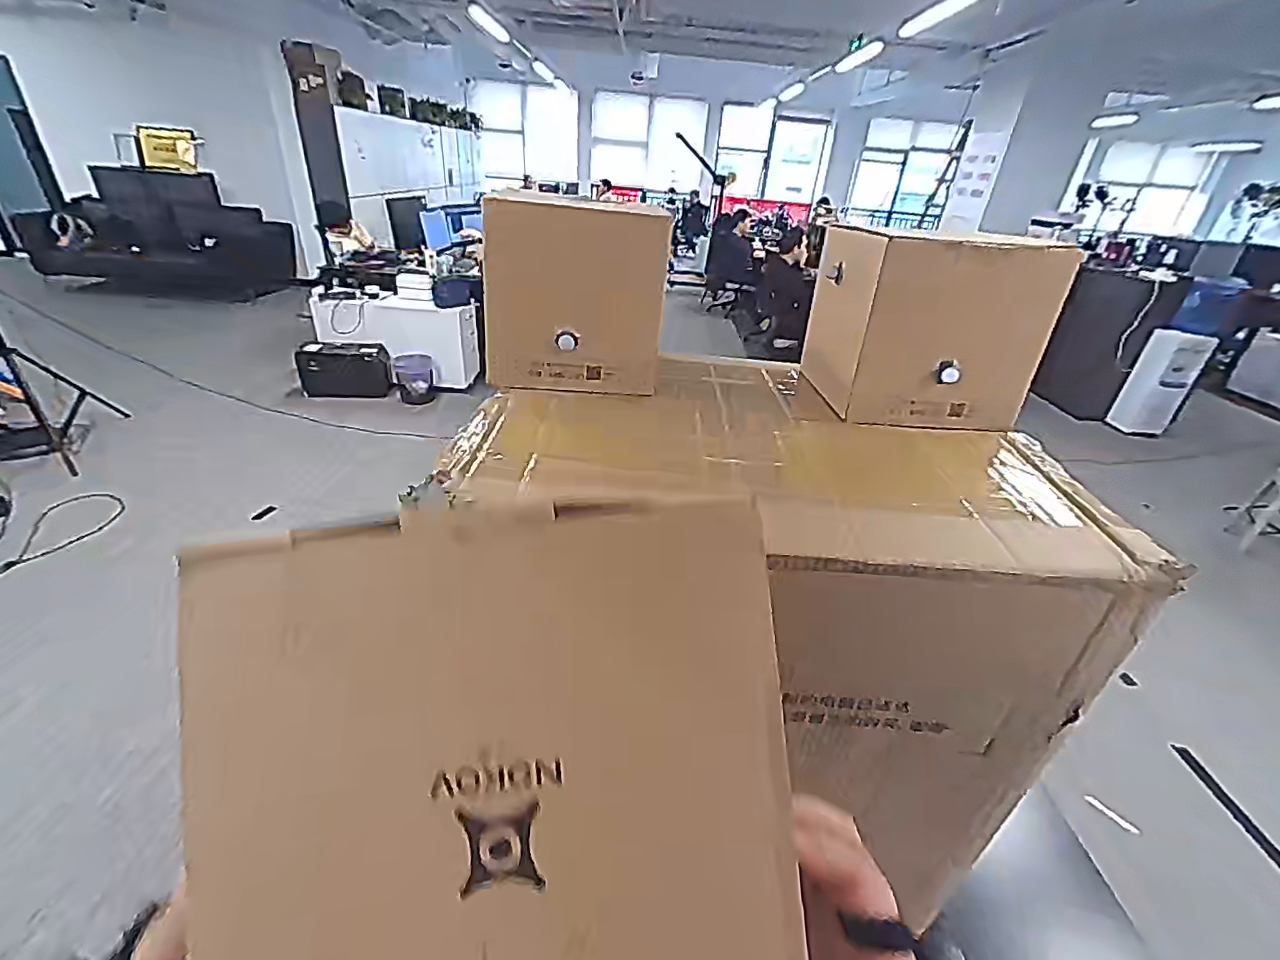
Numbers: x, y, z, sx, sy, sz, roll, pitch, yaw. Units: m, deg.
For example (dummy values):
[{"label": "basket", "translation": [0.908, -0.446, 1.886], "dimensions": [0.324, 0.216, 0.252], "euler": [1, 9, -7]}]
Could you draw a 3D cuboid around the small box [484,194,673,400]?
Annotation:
[{"label": "small box", "translation": [-0.066, -0.196, 0.572], "dimensions": [0.168, 0.176, 0.179], "euler": [2, 29, -7]}]

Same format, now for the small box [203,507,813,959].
[{"label": "small box", "translation": [-0.040, 0.110, 0.232], "dimensions": [0.168, 0.179, 0.176], "euler": [-6, -5, -3]}]

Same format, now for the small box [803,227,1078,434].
[{"label": "small box", "translation": [0.282, -0.161, 0.561], "dimensions": [0.168, 0.176, 0.179], "euler": [3, 28, -1]}]
